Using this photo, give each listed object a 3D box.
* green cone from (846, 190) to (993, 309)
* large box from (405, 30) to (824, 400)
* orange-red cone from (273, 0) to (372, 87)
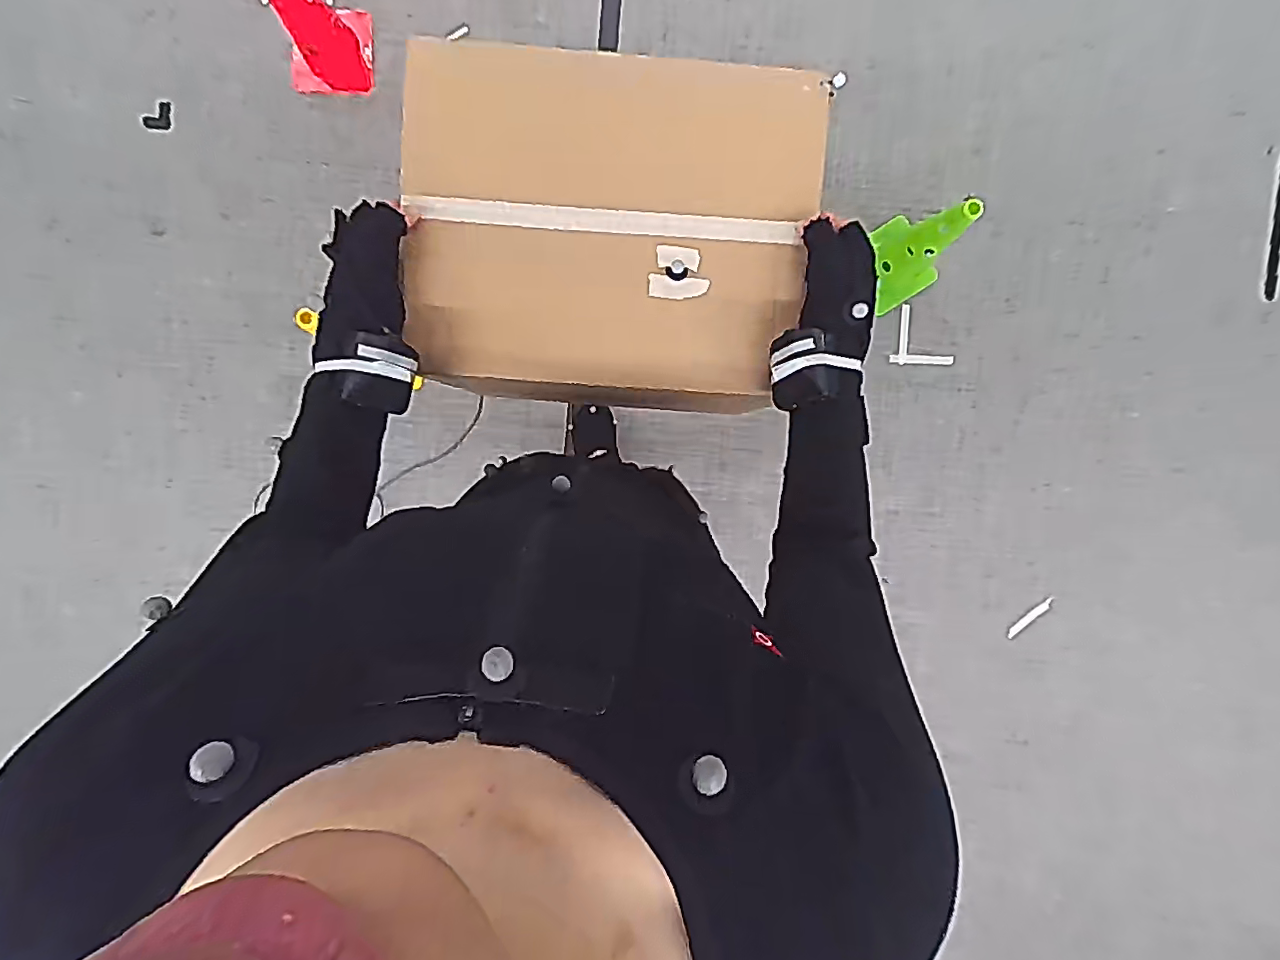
[{"bbox_3d":[0.674,-0.566,1.255,0.202,0.368,0.200,-33,95,0],"label":"green cone"},{"bbox_3d":[-0.032,-0.274,0.674,0.408,0.320,0.320,4,95,-2],"label":"large box"},{"bbox_3d":[-0.773,-1.080,1.193,0.198,0.360,0.199,2,96,0],"label":"orange-red cone"}]
